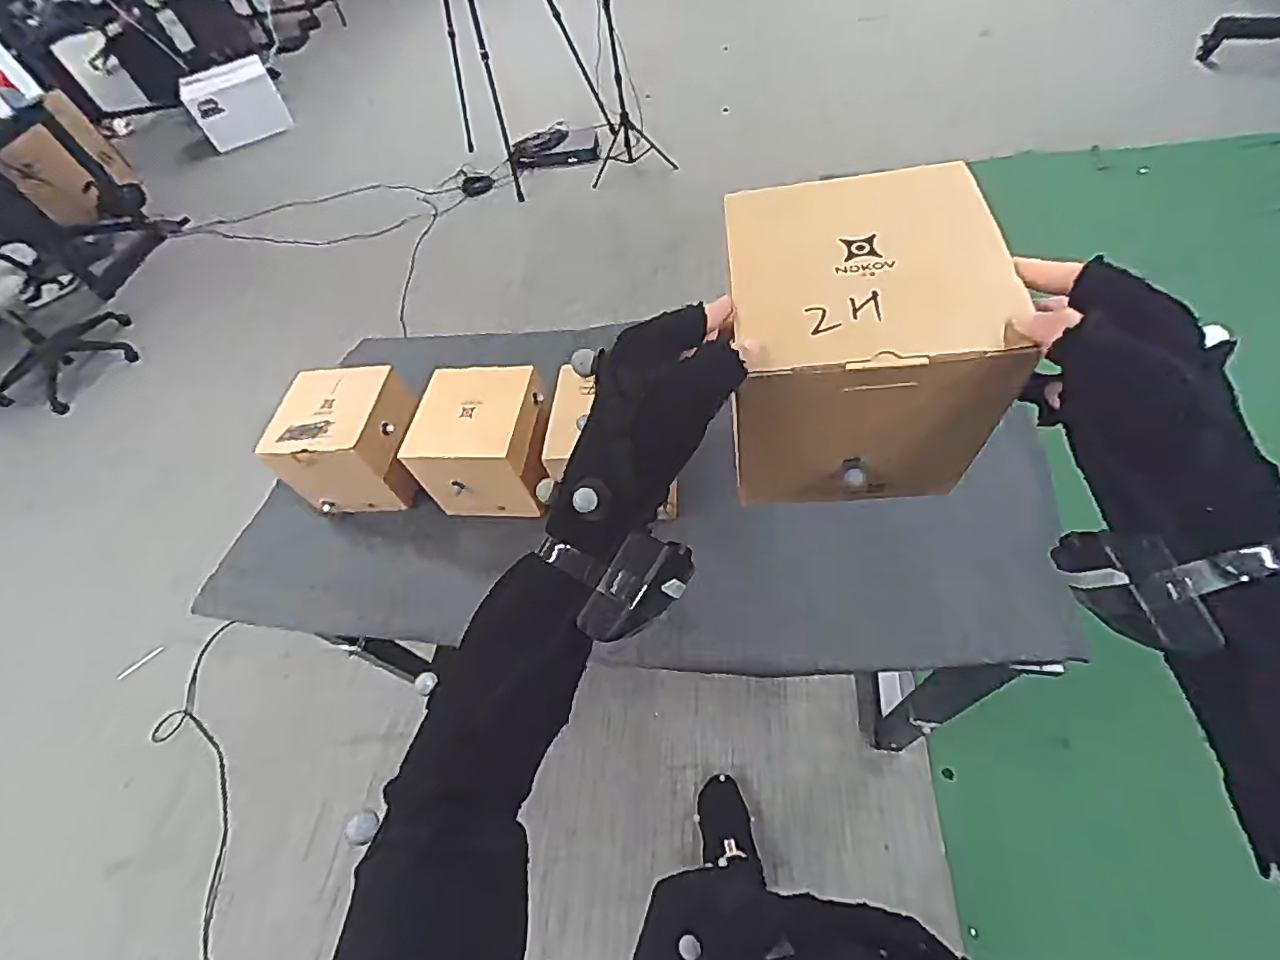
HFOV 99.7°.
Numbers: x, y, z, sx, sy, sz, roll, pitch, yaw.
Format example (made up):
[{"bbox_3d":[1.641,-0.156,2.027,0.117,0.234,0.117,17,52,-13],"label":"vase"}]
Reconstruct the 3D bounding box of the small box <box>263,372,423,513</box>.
[{"bbox_3d":[-0.465,-0.054,0.902,0.168,0.176,0.179,-2,54,8],"label":"small box"}]

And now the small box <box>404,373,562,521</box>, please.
[{"bbox_3d":[-0.233,-0.047,0.857,0.168,0.176,0.179,0,55,11],"label":"small box"}]

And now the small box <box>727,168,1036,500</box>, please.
[{"bbox_3d":[0.154,-0.101,0.418,0.168,0.176,0.179,-4,59,10],"label":"small box"}]
